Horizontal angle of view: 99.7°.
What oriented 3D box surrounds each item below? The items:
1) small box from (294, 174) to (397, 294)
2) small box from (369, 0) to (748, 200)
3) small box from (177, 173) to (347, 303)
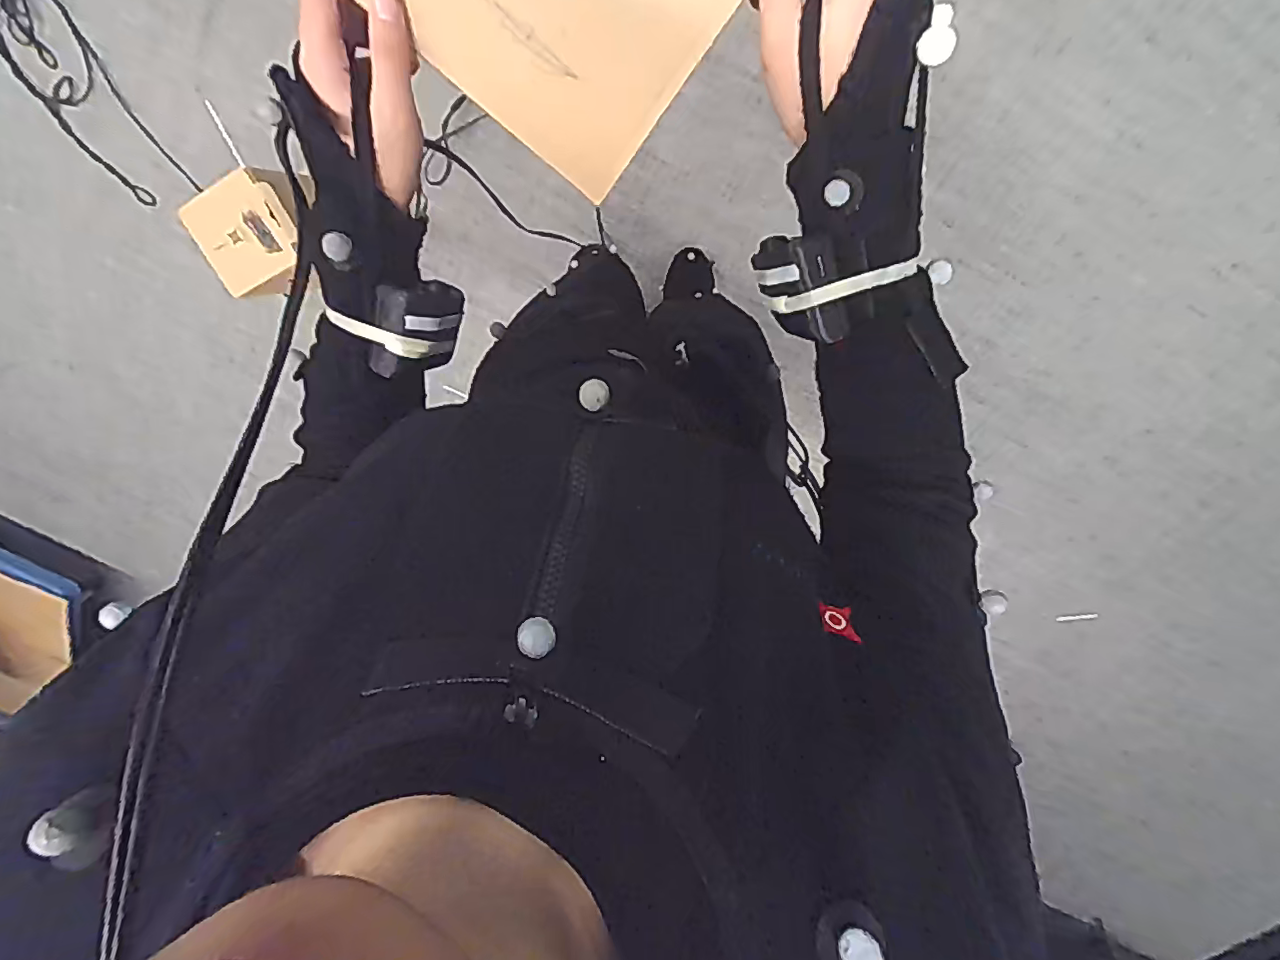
[{"bbox_3d":[-0.672,-0.532,1.176,0.168,0.176,0.179,-24,109,17],"label":"small box"},{"bbox_3d":[-0.023,-0.309,0.309,0.168,0.176,0.179,33,128,-19],"label":"small box"},{"bbox_3d":[-0.700,-0.458,1.030,0.179,0.176,0.168,-19,110,16],"label":"small box"}]
